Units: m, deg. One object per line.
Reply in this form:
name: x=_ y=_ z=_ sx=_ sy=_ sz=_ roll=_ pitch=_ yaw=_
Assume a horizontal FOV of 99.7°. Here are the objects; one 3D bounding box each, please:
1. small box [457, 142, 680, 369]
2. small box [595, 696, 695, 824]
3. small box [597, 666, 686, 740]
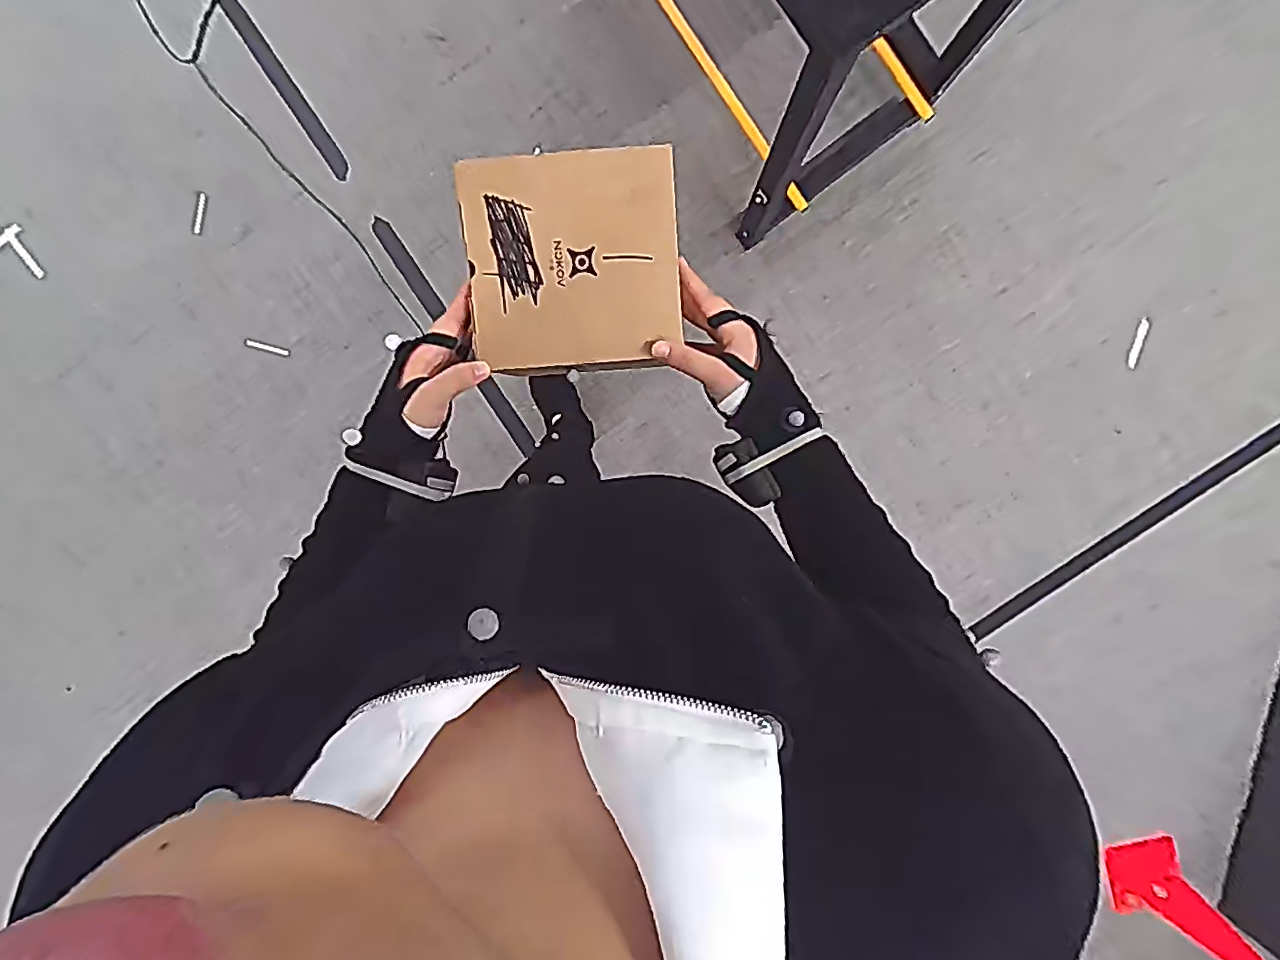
small box: x=-0.057 y=-0.198 z=0.523 sx=0.179 sy=0.176 sz=0.168 roll=-4 pitch=100 yaw=0
small box: x=0.015 y=0.657 z=1.289 sx=0.168 sy=0.176 sz=0.179 roll=-34 pitch=91 yaw=2
small box: x=0.007 y=0.638 z=1.451 sx=0.179 sy=0.176 sz=0.168 roll=-36 pitch=93 yaw=3
